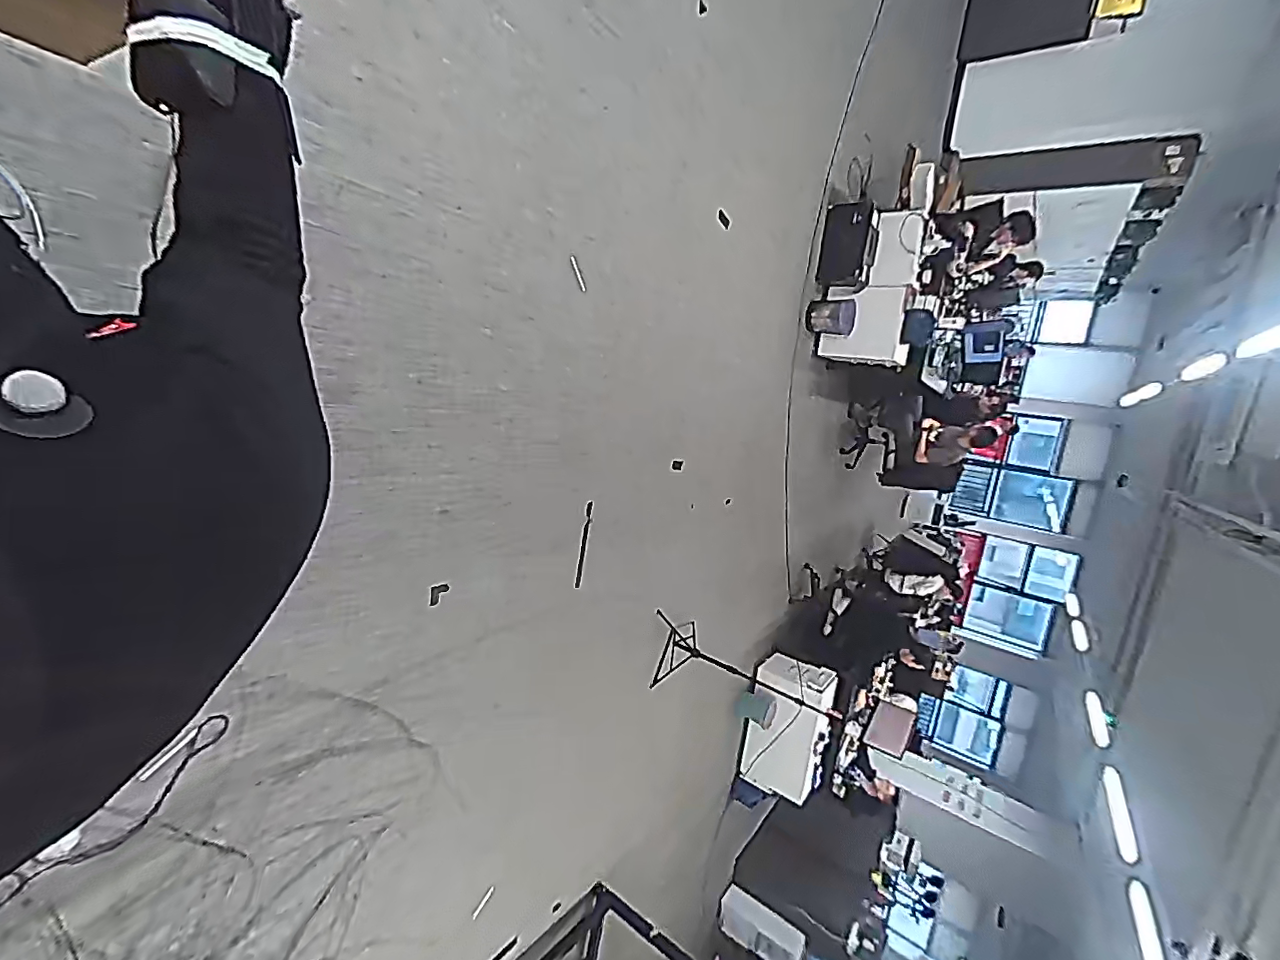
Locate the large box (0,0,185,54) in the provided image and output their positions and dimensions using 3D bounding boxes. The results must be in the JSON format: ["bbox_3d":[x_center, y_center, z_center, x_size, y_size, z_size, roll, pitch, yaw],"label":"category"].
[{"bbox_3d":[-0.521,-0.507,0.265,0.408,0.320,0.320,-6,113,-55],"label":"large box"}]
